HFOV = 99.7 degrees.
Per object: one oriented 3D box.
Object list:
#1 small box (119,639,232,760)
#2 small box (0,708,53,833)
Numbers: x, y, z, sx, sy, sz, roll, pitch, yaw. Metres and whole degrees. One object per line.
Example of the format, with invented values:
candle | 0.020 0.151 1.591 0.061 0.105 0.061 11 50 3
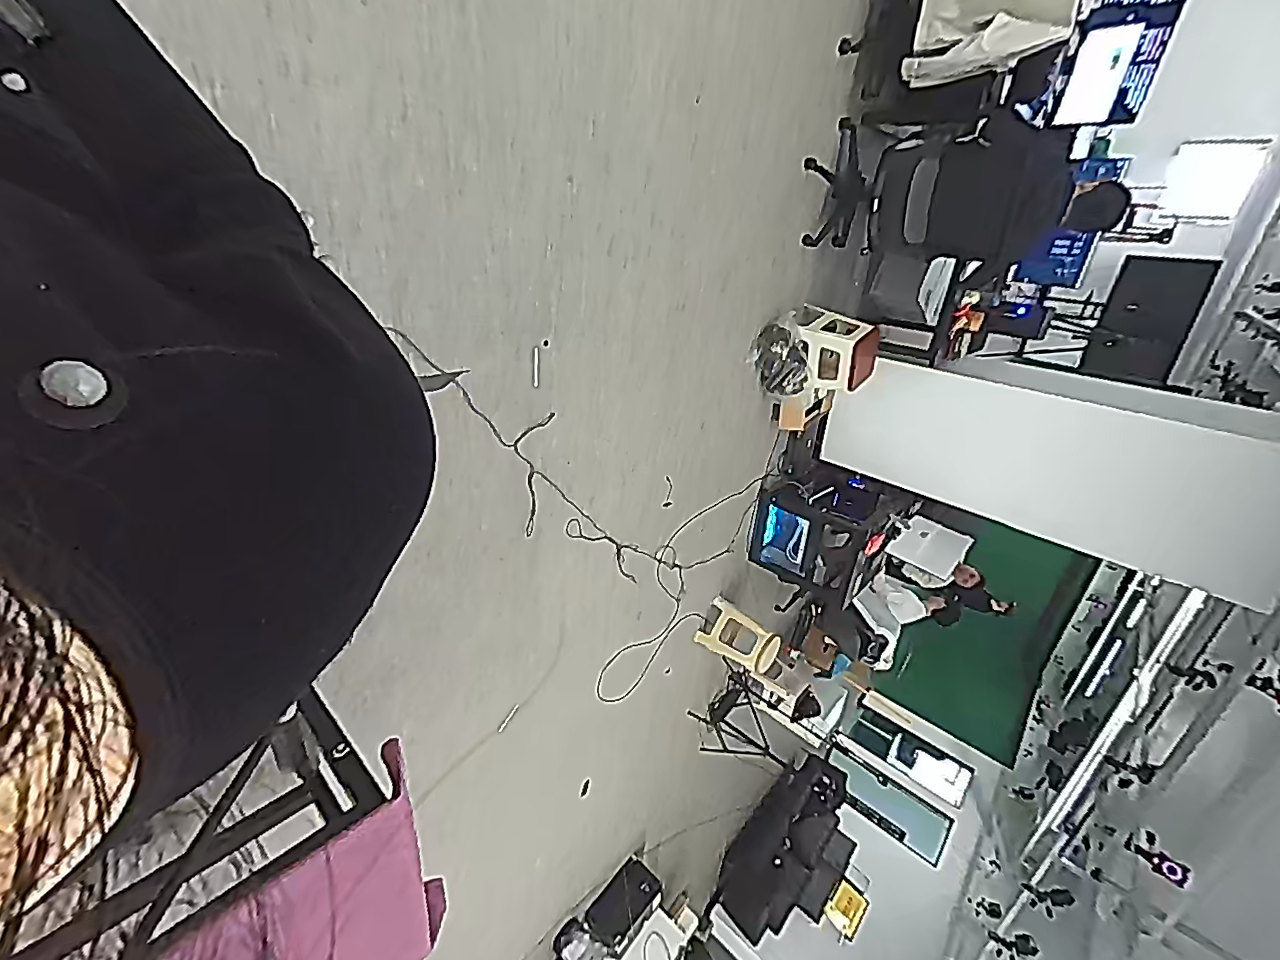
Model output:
small box | -1.127 0.525 1.314 0.168 0.176 0.179 -20 126 -45
small box | -1.338 0.605 1.092 0.168 0.176 0.179 -23 126 -44
